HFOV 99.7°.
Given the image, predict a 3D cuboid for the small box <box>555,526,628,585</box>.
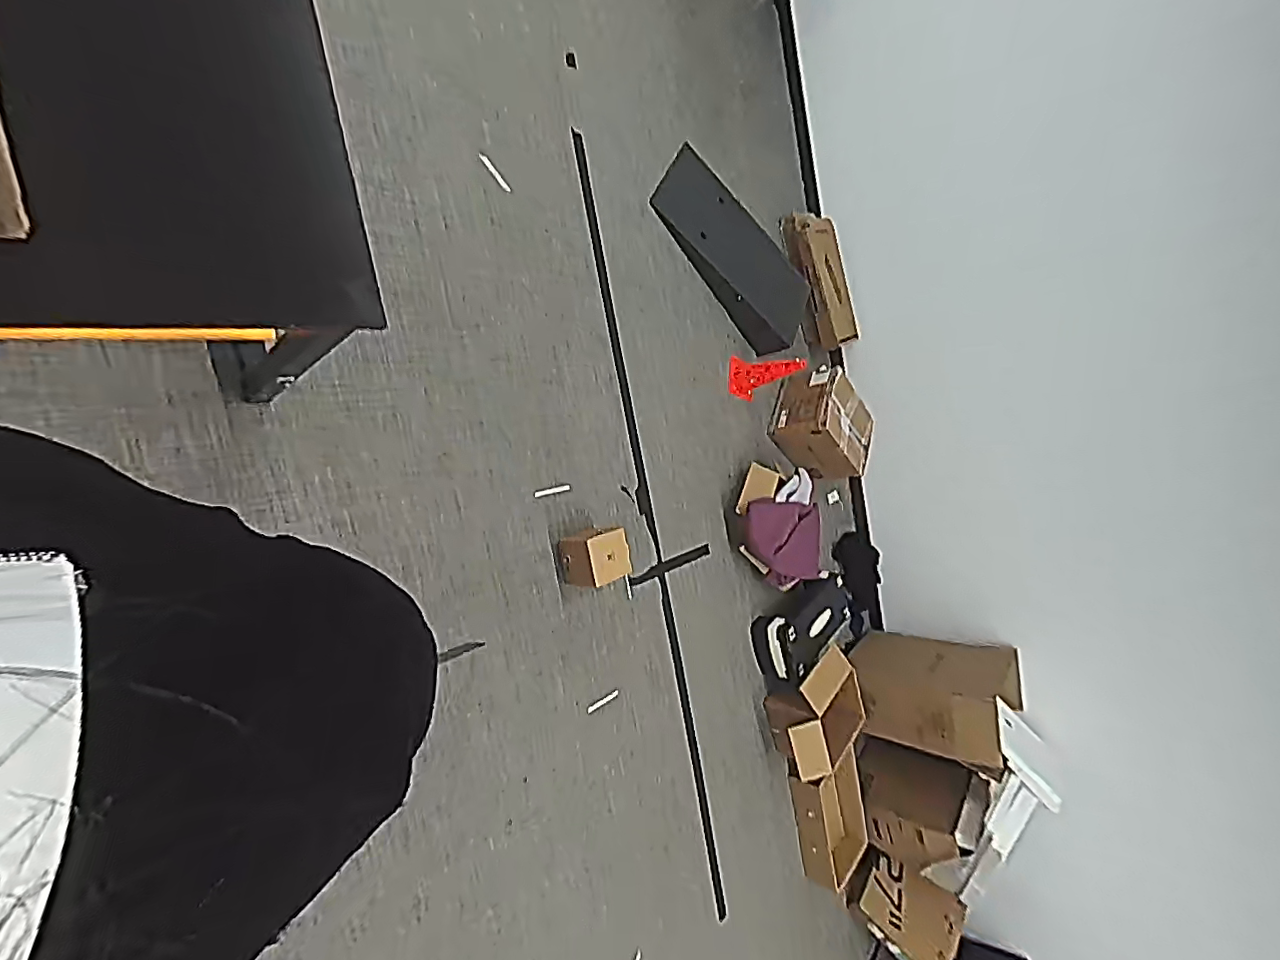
[{"bbox_3d":[-0.171,0.260,1.895,0.179,0.176,0.168,-17,97,-44],"label":"small box"}]
